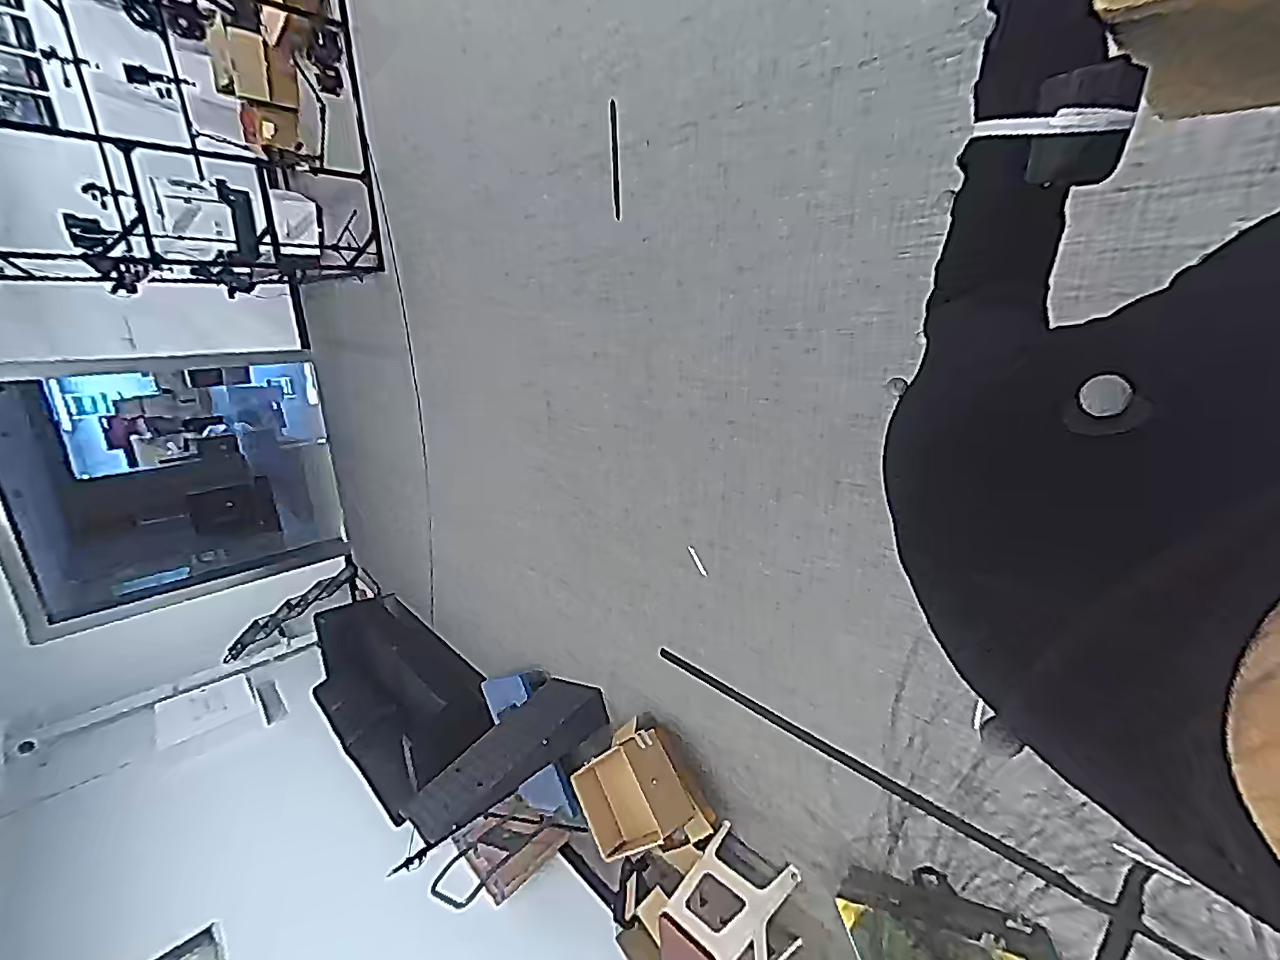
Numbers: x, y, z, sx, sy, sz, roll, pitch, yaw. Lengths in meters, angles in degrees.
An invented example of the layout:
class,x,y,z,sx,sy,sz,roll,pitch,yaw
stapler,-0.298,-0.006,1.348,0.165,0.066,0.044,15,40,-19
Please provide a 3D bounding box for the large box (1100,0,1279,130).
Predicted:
class,x,y,z,sx,sy,sz,roll,pitch,yaw
large box,0.518,-0.397,0.238,0.408,0.320,0.320,21,118,43
